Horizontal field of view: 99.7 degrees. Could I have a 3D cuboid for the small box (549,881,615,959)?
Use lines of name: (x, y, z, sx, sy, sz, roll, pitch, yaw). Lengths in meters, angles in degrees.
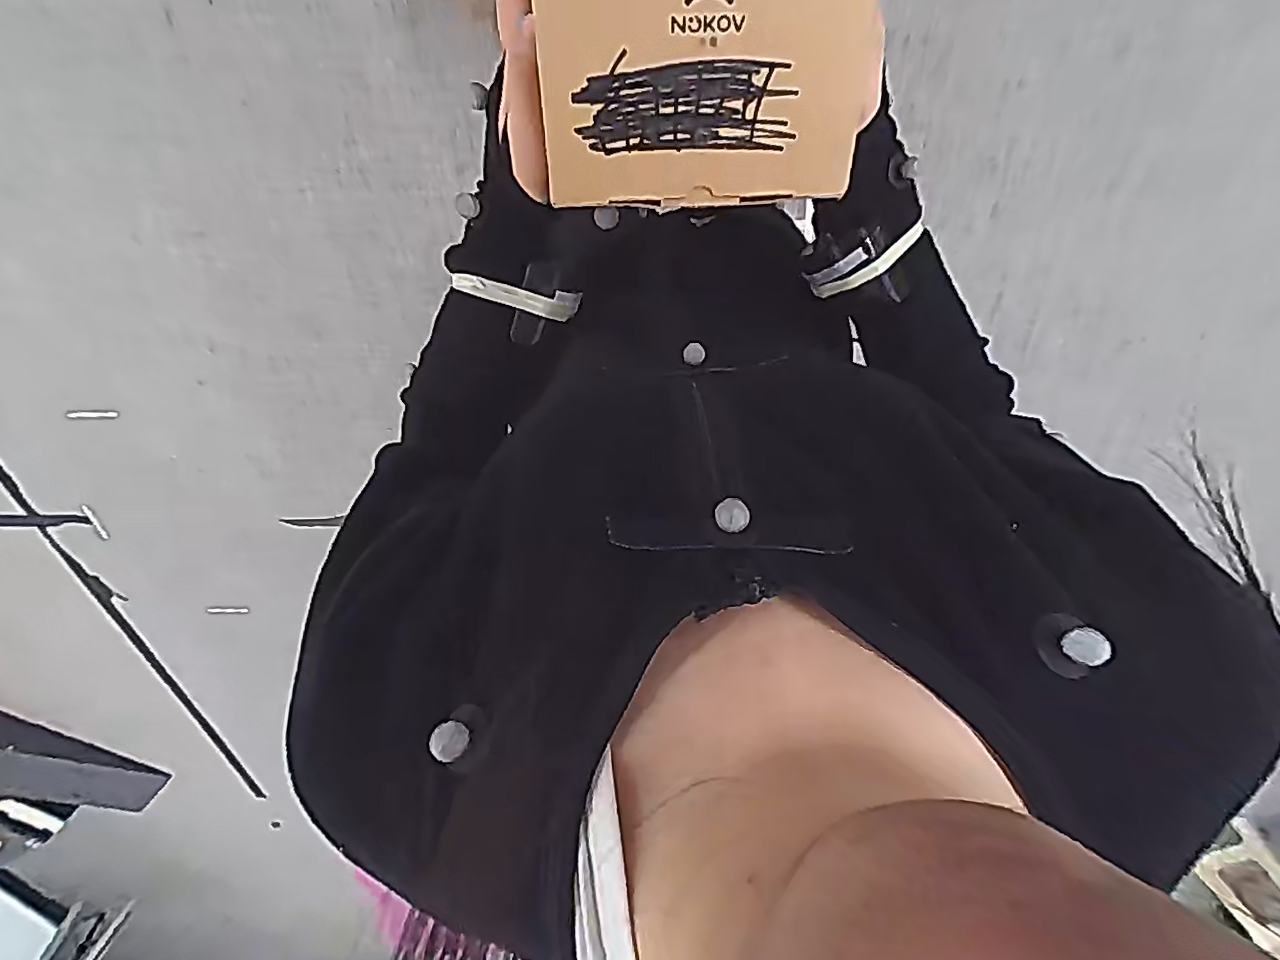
small box: (-0.155, 1.246, 1.497, 0.168, 0.176, 0.179, 0, 123, -1)
